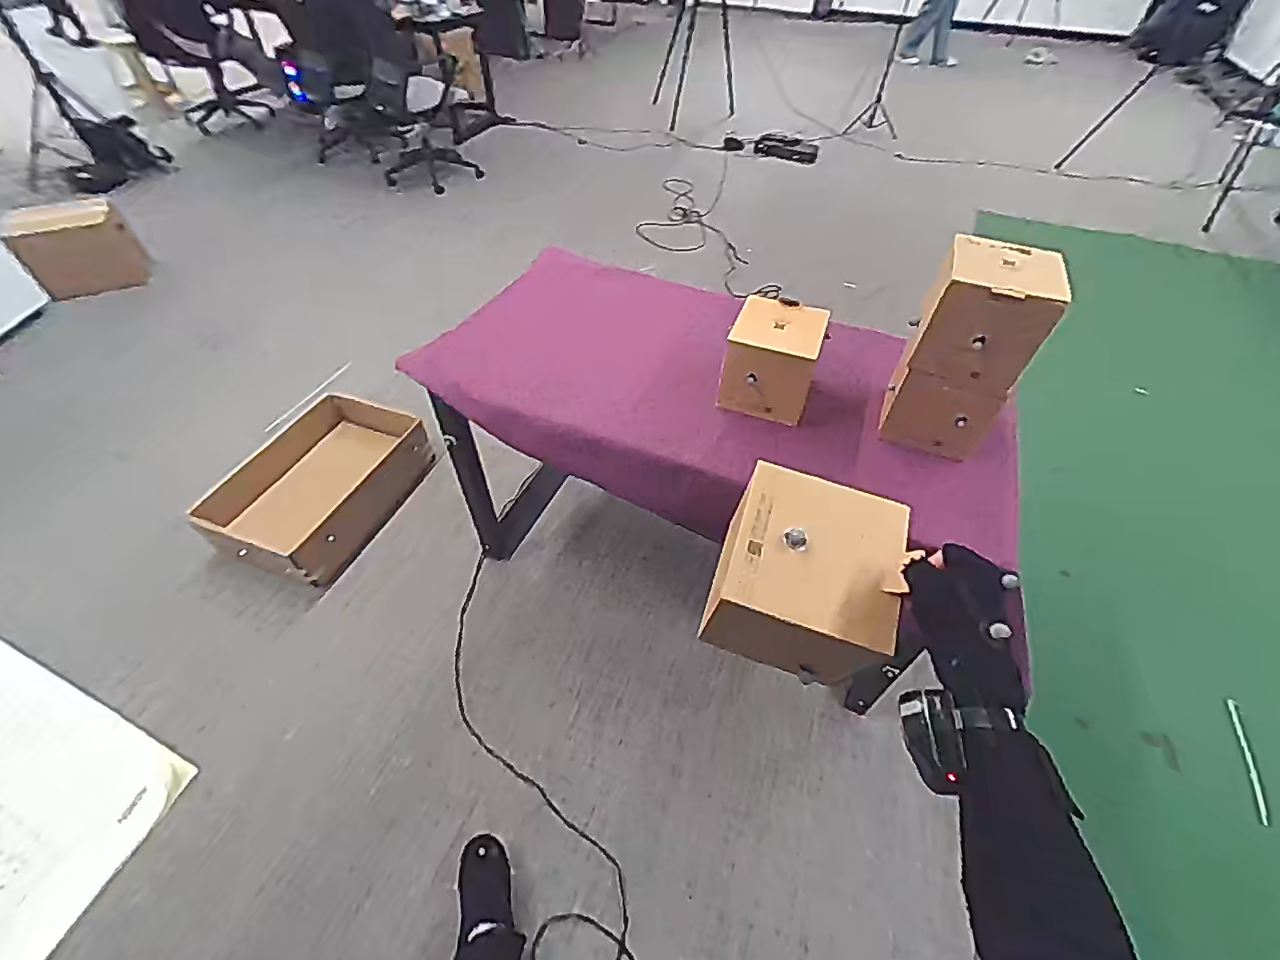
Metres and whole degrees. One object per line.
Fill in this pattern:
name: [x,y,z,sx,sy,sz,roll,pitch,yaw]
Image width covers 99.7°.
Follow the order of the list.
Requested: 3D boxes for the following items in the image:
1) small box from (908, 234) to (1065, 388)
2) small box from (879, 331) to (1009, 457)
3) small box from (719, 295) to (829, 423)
small box: [0.570,-0.281,0.907,0.168,0.176,0.179,20,52,14]
small box: [0.572,-0.171,1.029,0.168,0.176,0.179,19,50,14]
small box: [0.262,-0.239,1.082,0.168,0.176,0.179,17,49,13]
